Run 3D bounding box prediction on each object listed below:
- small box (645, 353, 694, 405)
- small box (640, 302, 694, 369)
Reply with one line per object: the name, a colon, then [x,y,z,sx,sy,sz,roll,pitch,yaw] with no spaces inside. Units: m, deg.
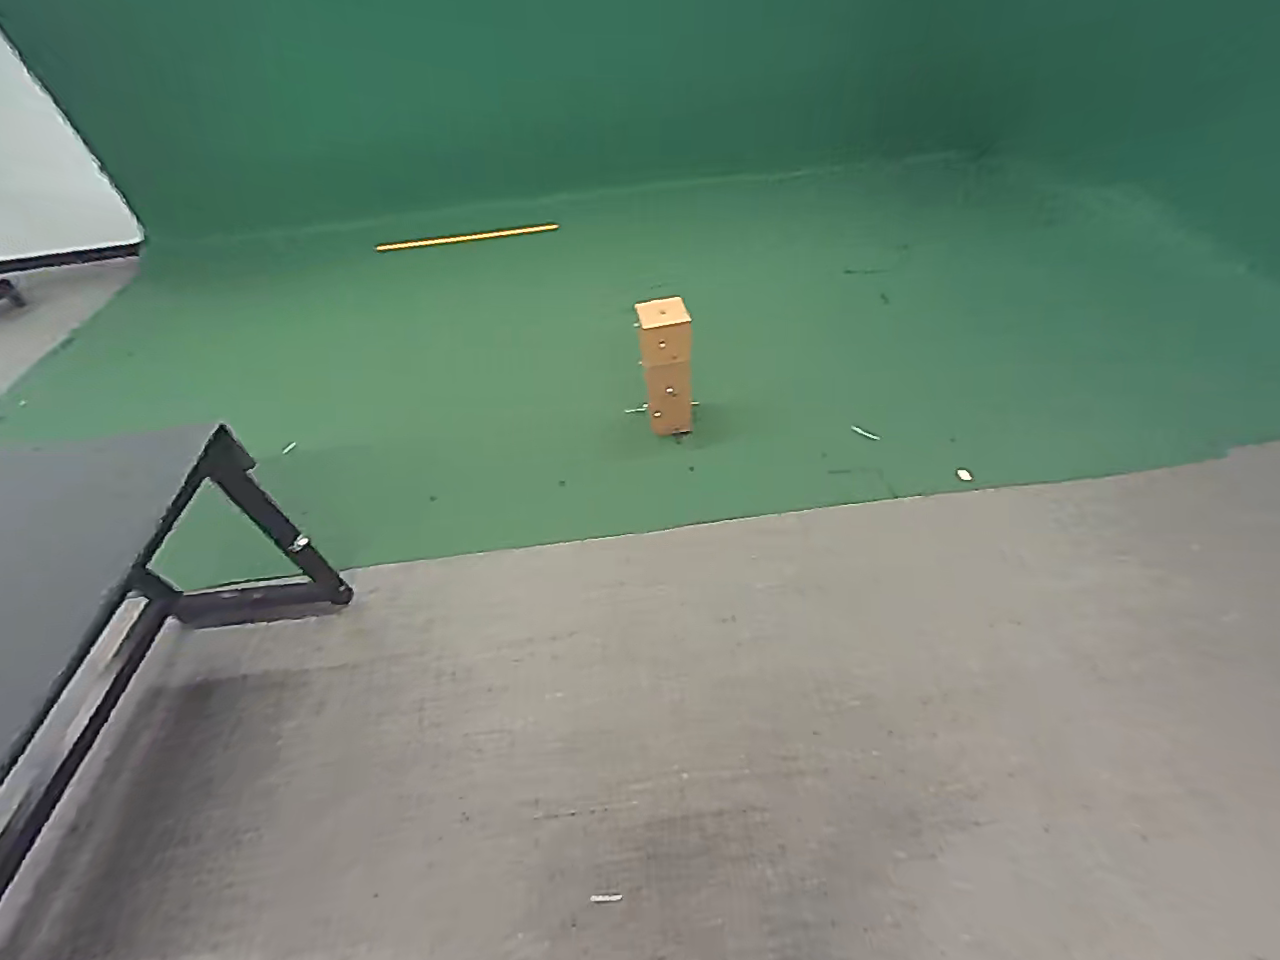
small box: [0.113,-0.413,2.090,0.168,0.176,0.179,-9,46,-1]
small box: [0.101,-0.522,1.971,0.168,0.176,0.179,-11,46,-3]
